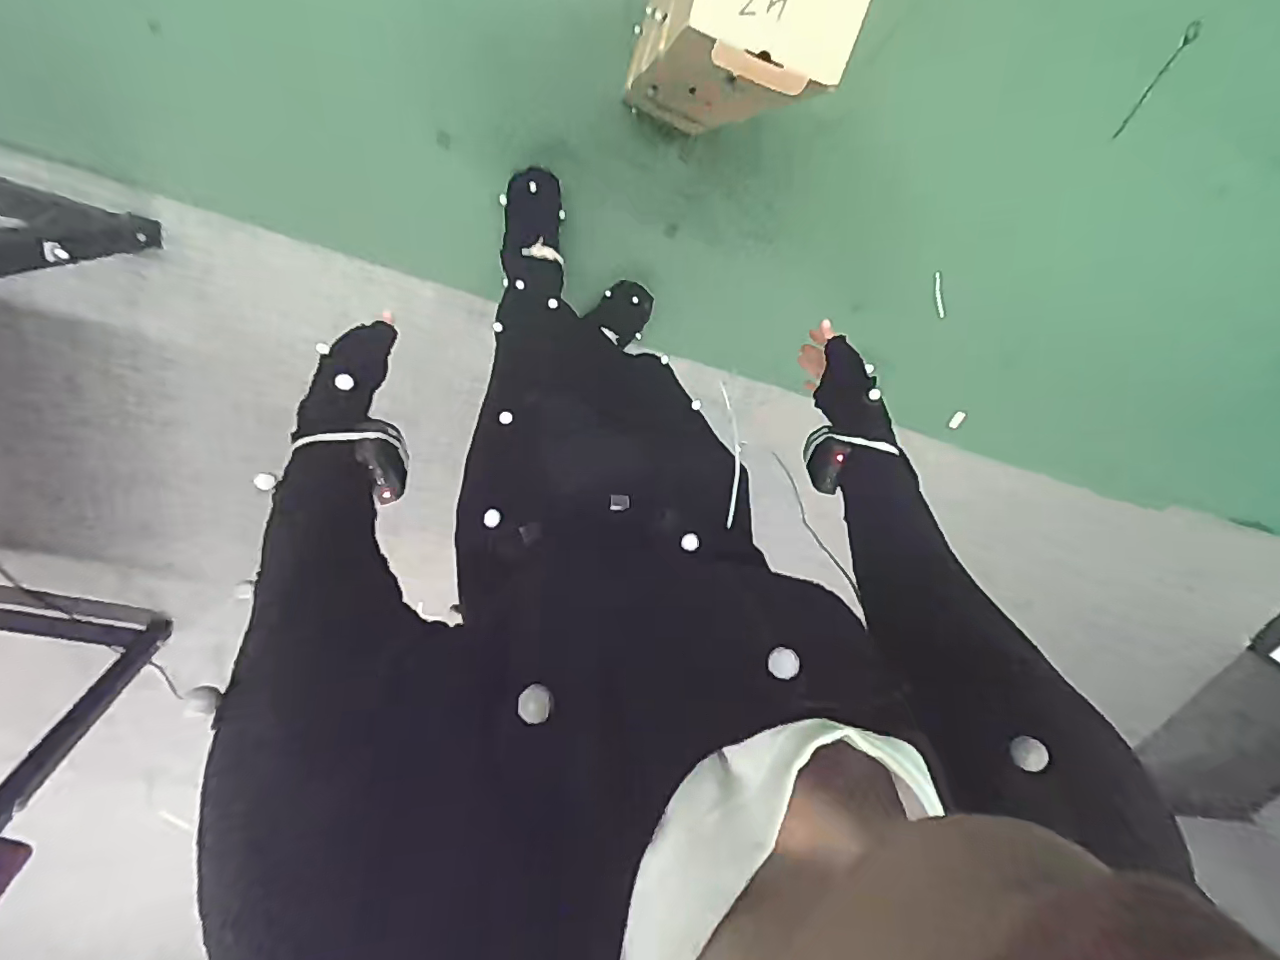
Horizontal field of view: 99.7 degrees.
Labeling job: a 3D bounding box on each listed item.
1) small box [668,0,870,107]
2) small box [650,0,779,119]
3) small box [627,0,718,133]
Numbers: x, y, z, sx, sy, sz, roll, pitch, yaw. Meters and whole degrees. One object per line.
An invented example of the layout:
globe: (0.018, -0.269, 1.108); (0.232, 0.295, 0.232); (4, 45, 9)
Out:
small box: (0.138, -0.528, 0.571); (0.168, 0.176, 0.179); (12, 117, -14)
small box: (0.120, -0.609, 0.713); (0.168, 0.176, 0.179); (13, 117, -14)
small box: (0.080, -0.768, 0.996); (0.168, 0.176, 0.179); (16, 116, -15)
